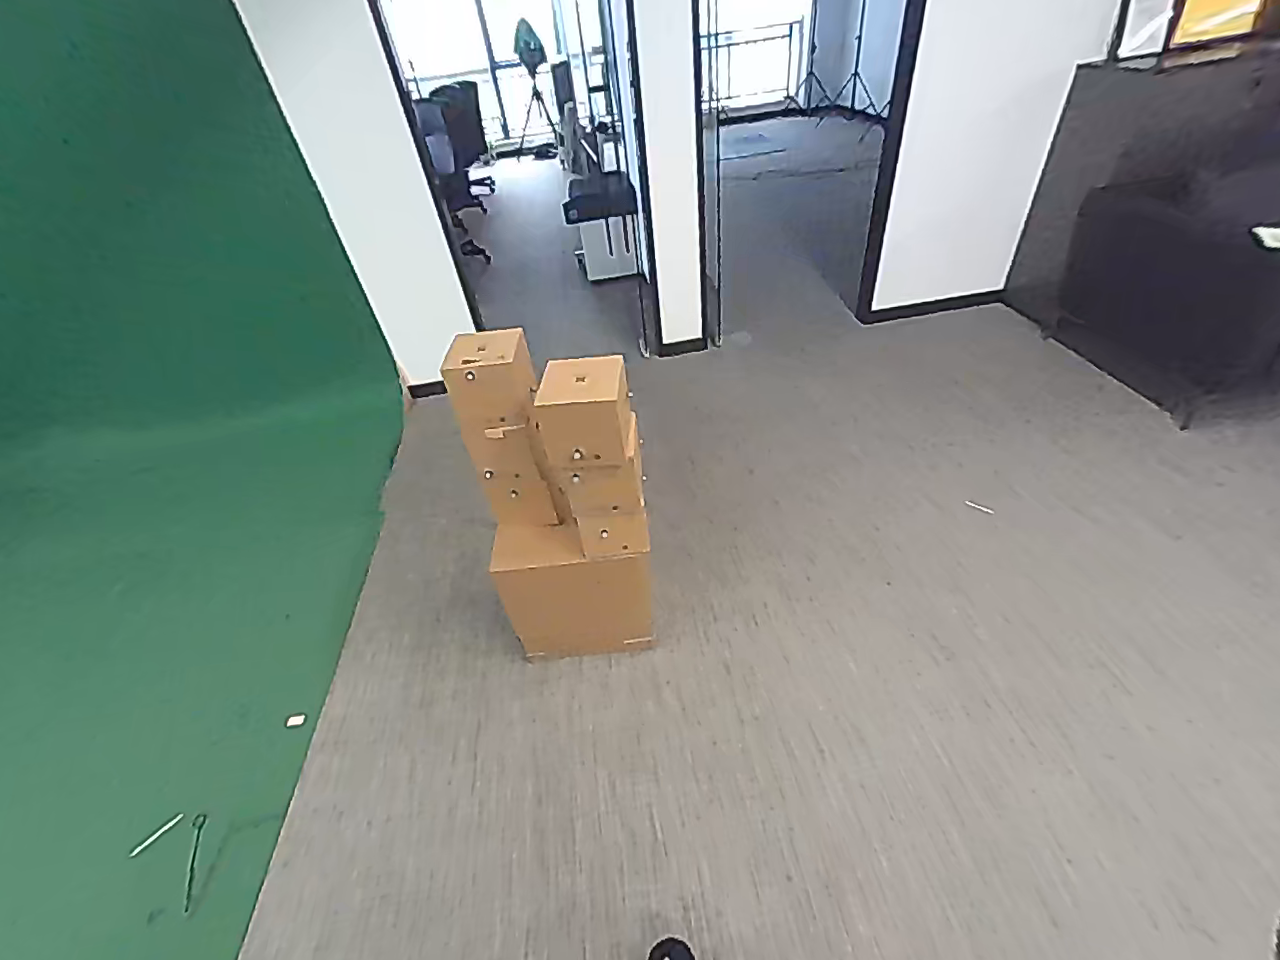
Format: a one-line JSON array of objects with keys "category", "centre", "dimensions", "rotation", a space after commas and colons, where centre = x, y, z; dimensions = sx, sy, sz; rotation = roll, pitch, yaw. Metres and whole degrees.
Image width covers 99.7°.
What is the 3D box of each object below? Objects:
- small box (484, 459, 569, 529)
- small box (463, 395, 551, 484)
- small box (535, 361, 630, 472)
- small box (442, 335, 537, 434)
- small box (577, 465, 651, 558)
[{"category": "small box", "centre": [-0.309, 0.024, 1.512], "dimensions": [0.179, 0.176, 0.168], "rotation": [-2, 41, 5]}, {"category": "small box", "centre": [-0.331, -0.101, 1.408], "dimensions": [0.168, 0.176, 0.179], "rotation": [-1, 39, 8]}, {"category": "small box", "centre": [-0.113, -0.136, 1.159], "dimensions": [0.168, 0.176, 0.179], "rotation": [-3, 41, 6]}, {"category": "small box", "centre": [-0.353, -0.230, 1.307], "dimensions": [0.168, 0.176, 0.179], "rotation": [-6, 39, 3]}, {"category": "small box", "centre": [-0.067, 0.087, 1.397], "dimensions": [0.168, 0.176, 0.179], "rotation": [-8, 40, 0]}]
